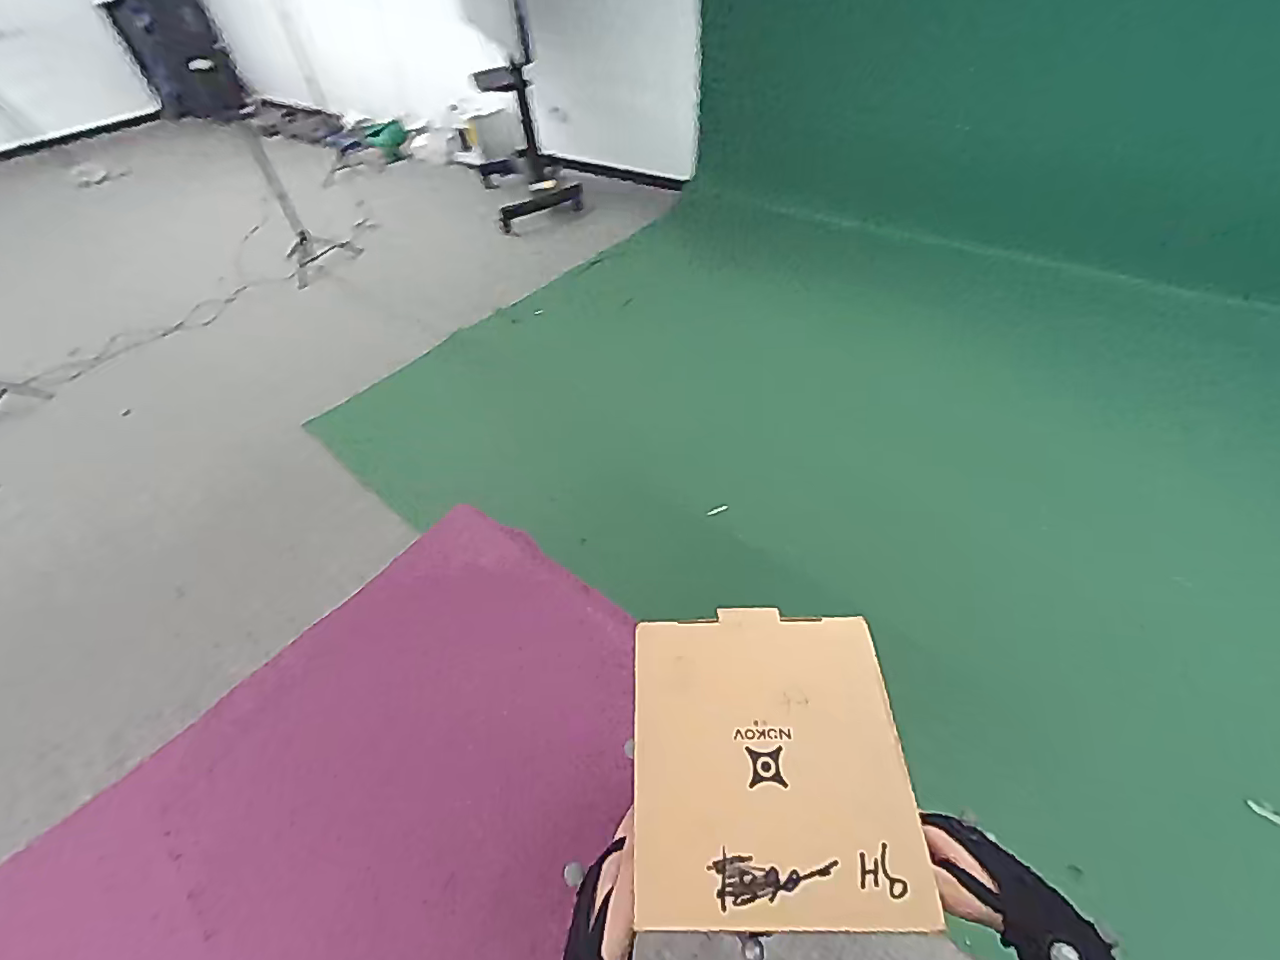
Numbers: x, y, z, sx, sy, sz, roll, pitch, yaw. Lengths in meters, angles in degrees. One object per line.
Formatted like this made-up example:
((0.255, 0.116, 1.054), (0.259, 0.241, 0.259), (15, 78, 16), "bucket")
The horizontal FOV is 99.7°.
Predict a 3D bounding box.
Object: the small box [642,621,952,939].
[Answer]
((0.092, 0.221, 0.401), (0.168, 0.176, 0.179), (-3, 52, 6), "small box")
